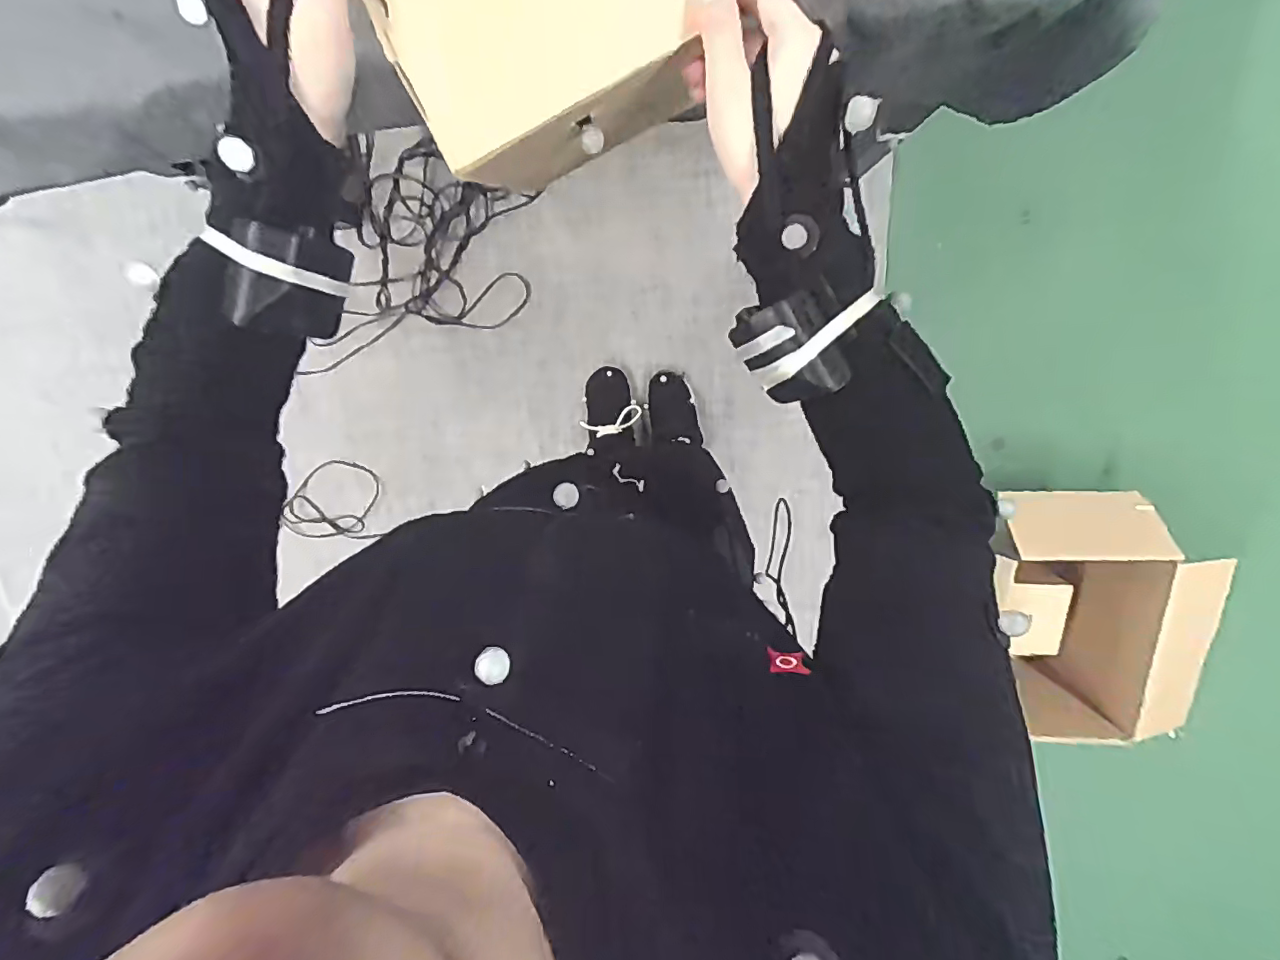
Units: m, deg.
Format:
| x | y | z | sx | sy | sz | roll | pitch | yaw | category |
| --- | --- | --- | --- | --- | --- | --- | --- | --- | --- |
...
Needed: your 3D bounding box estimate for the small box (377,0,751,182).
| x | y | z | sx | sy | sz | roll | pitch | yaw | category |
| --- | --- | --- | --- | --- | --- | --- | --- | --- | --- |
| -0.049 | -0.307 | 0.329 | 0.179 | 0.176 | 0.168 | -20 | 112 | 14 | small box |
